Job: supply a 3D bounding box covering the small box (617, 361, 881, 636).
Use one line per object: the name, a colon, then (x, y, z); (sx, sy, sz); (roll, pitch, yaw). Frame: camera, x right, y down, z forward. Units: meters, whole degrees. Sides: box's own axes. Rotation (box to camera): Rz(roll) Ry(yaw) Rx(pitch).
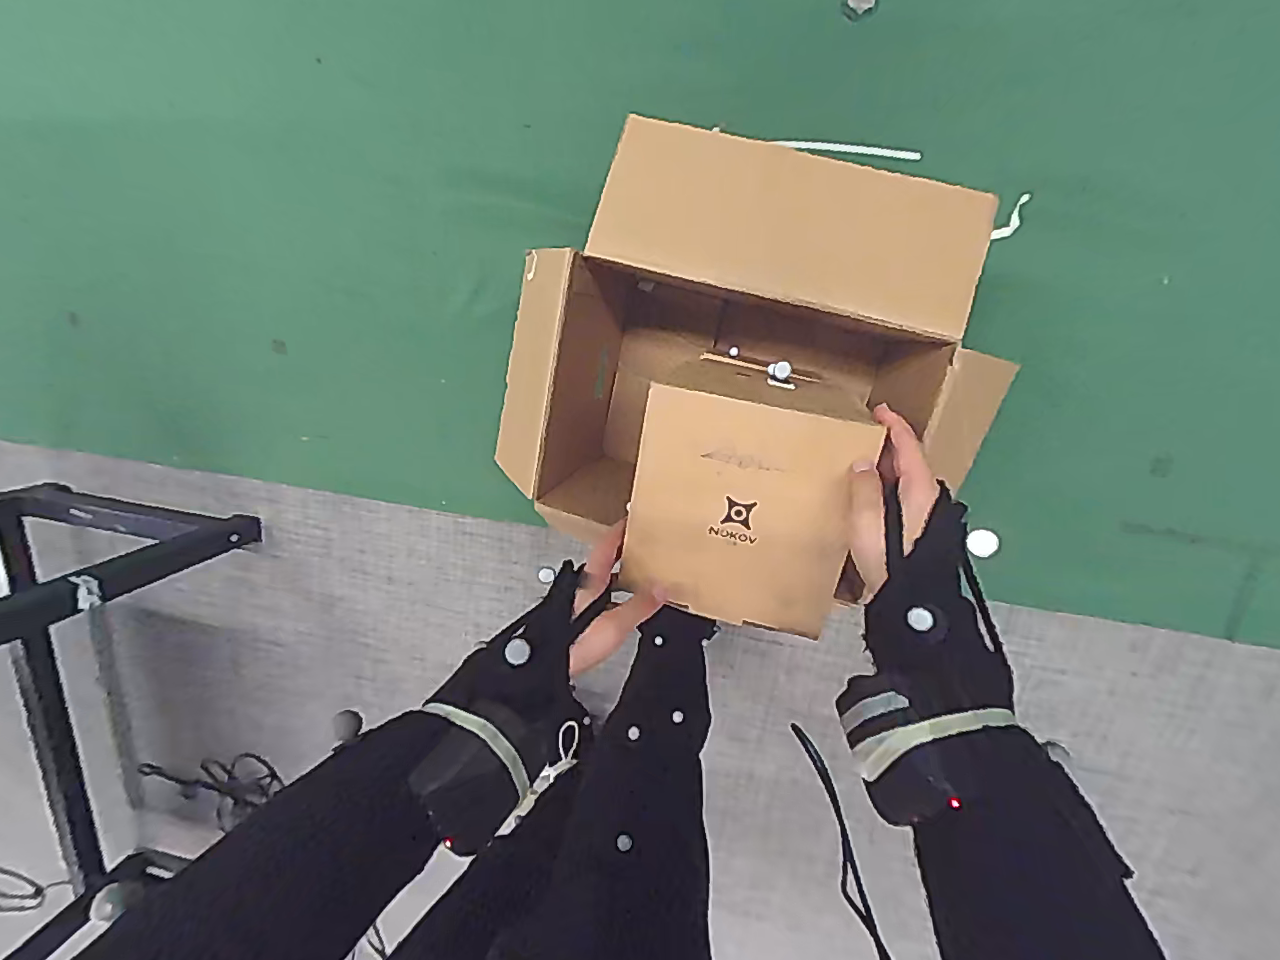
small box: (0.089, 0.001, 0.475); (0.168, 0.176, 0.179); (12, 108, 8)
